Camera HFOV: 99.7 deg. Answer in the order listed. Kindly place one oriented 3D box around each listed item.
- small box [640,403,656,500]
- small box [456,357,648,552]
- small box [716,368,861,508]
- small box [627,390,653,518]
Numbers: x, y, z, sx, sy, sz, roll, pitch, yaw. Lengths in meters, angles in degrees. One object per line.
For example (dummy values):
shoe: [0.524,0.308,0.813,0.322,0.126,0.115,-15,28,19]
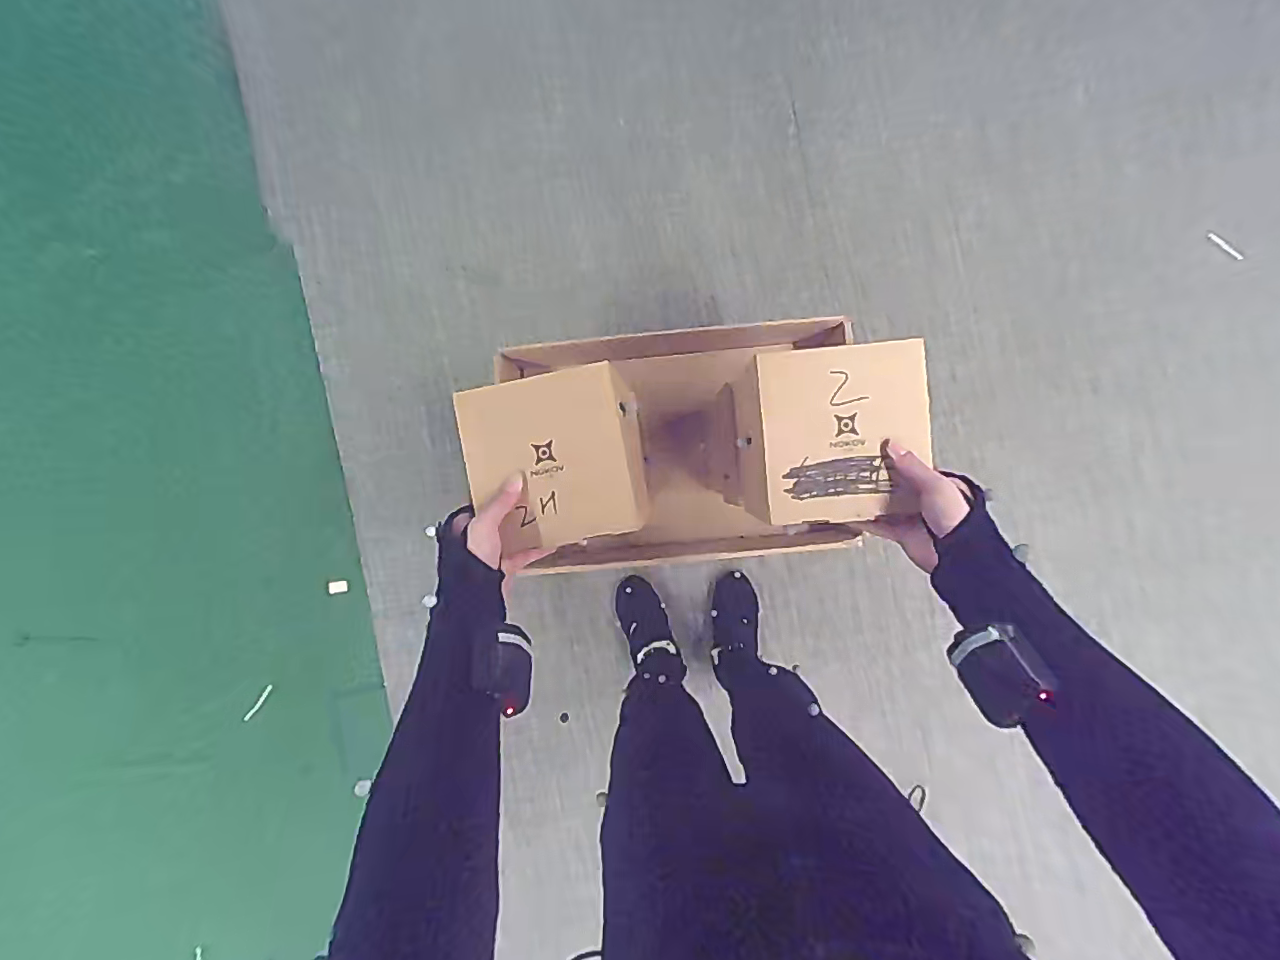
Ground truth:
small box: [-0.065,-0.036,0.970,0.179,0.176,0.168,-7,90,1]
small box: [-0.088,-0.025,0.619,0.168,0.176,0.179,-10,90,5]
small box: [0.208,-0.056,0.796,0.168,0.176,0.179,-5,89,1]
small box: [-0.072,-0.025,0.807,0.168,0.176,0.179,-8,90,2]
